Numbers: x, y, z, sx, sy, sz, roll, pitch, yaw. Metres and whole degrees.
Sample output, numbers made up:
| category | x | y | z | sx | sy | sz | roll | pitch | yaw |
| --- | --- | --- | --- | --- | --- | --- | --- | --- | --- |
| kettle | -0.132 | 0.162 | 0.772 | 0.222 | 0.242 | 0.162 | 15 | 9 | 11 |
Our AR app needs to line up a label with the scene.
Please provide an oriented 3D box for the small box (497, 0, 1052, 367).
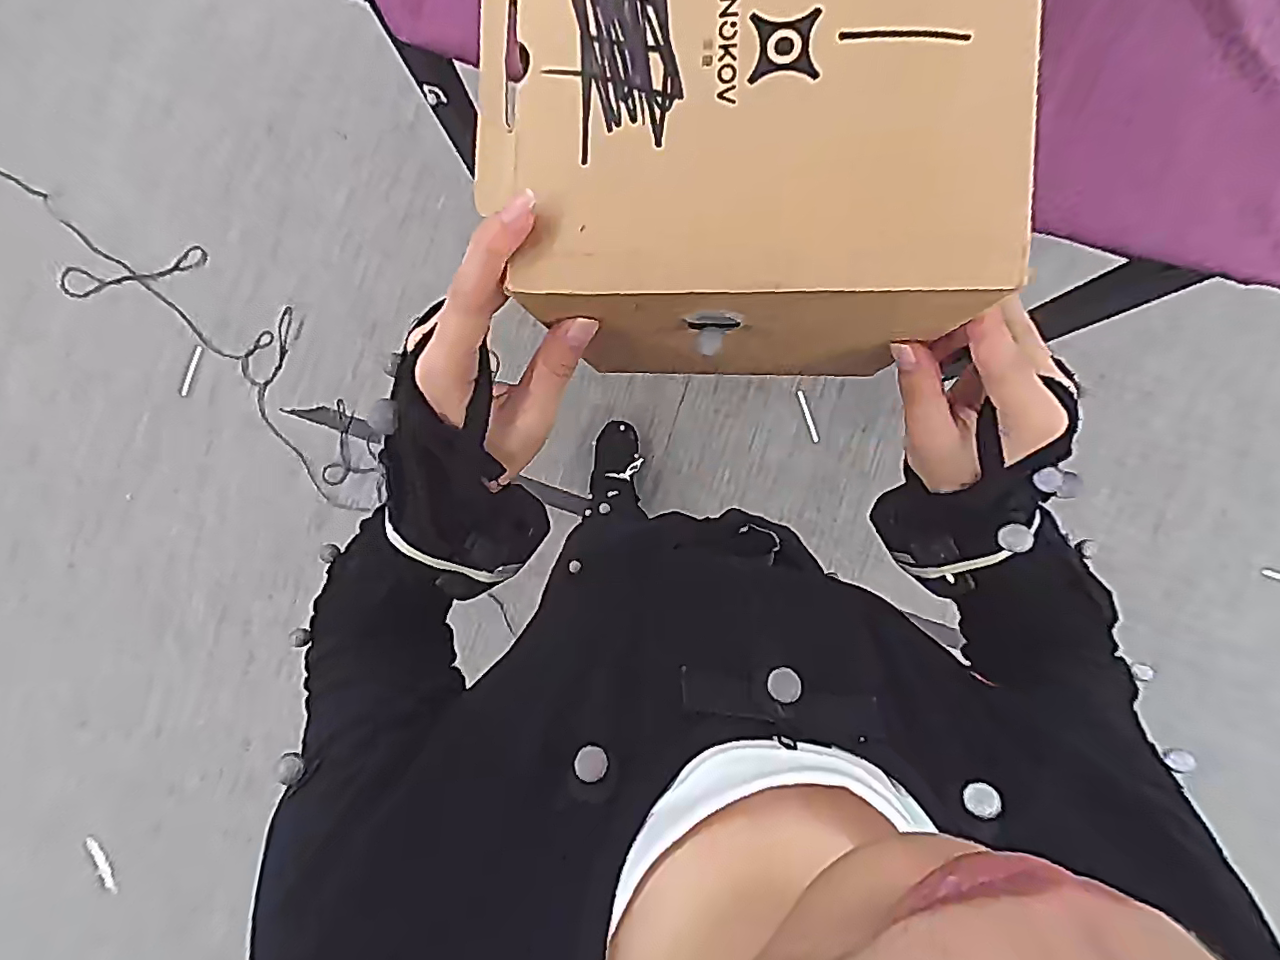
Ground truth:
| category | x | y | z | sx | sy | sz | roll | pitch | yaw |
| --- | --- | --- | --- | --- | --- | --- | --- | --- | --- |
| small box | 0.050 | -0.150 | 0.254 | 0.179 | 0.176 | 0.168 | 2 | 92 | 7 |
